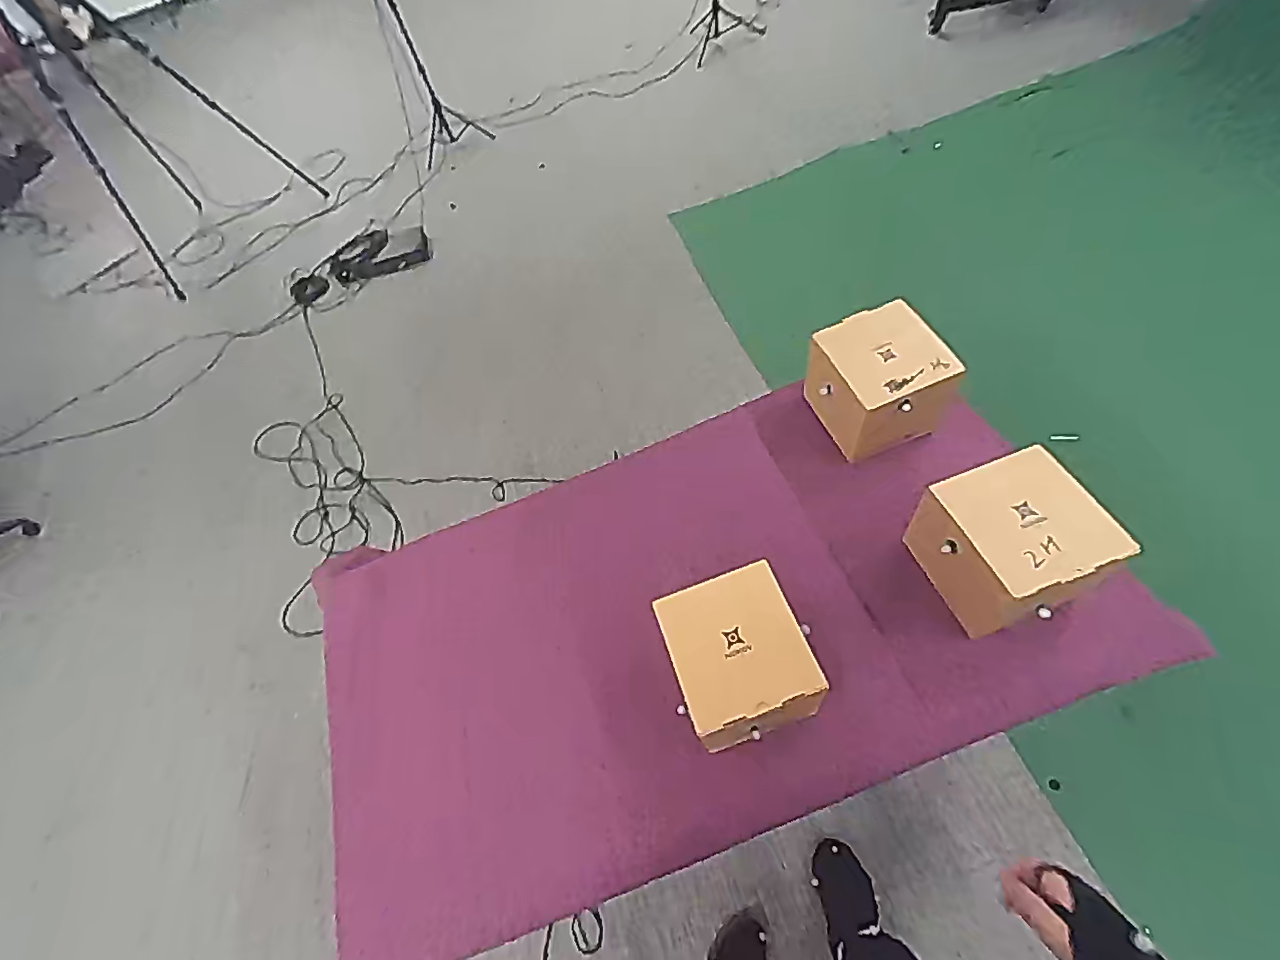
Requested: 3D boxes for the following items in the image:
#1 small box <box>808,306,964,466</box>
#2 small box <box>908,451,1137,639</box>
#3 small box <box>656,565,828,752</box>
[{"bbox_3d":[0.403,-0.155,0.927,0.168,0.176,0.179,-23,59,0],"label":"small box"},{"bbox_3d":[0.506,0.095,0.754,0.168,0.176,0.179,-21,56,0],"label":"small box"},{"bbox_3d":[0.132,0.249,0.741,0.168,0.176,0.179,-20,57,-2],"label":"small box"}]
